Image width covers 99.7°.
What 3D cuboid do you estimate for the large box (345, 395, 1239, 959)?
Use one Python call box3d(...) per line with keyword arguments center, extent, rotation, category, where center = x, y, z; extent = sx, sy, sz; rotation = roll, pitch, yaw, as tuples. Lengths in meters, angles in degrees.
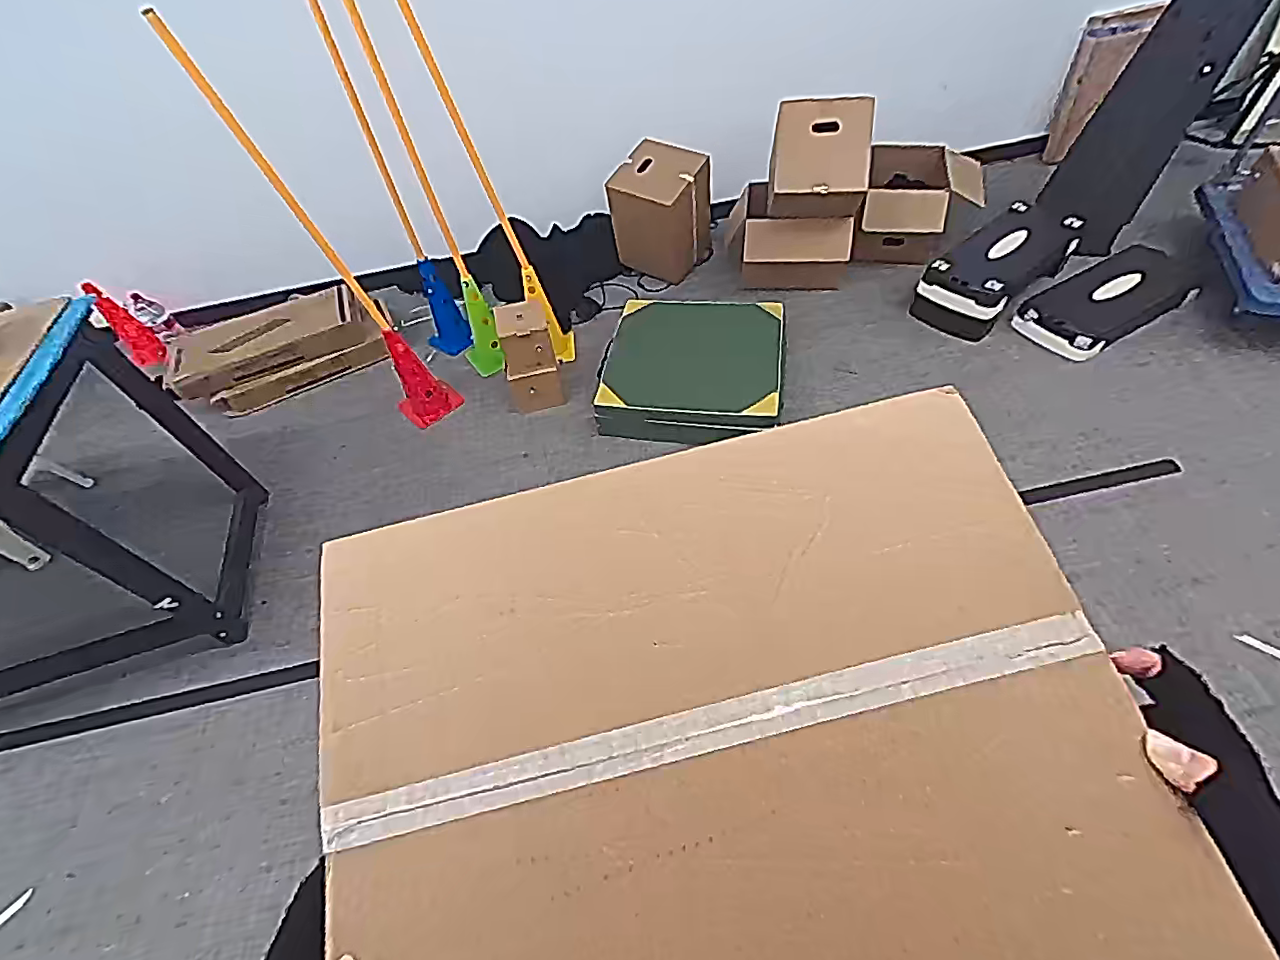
box3d(center=(0.049, 0.187, 0.427), extent=(0.408, 0.320, 0.320), rotation=(-14, 67, 0), category="large box")
